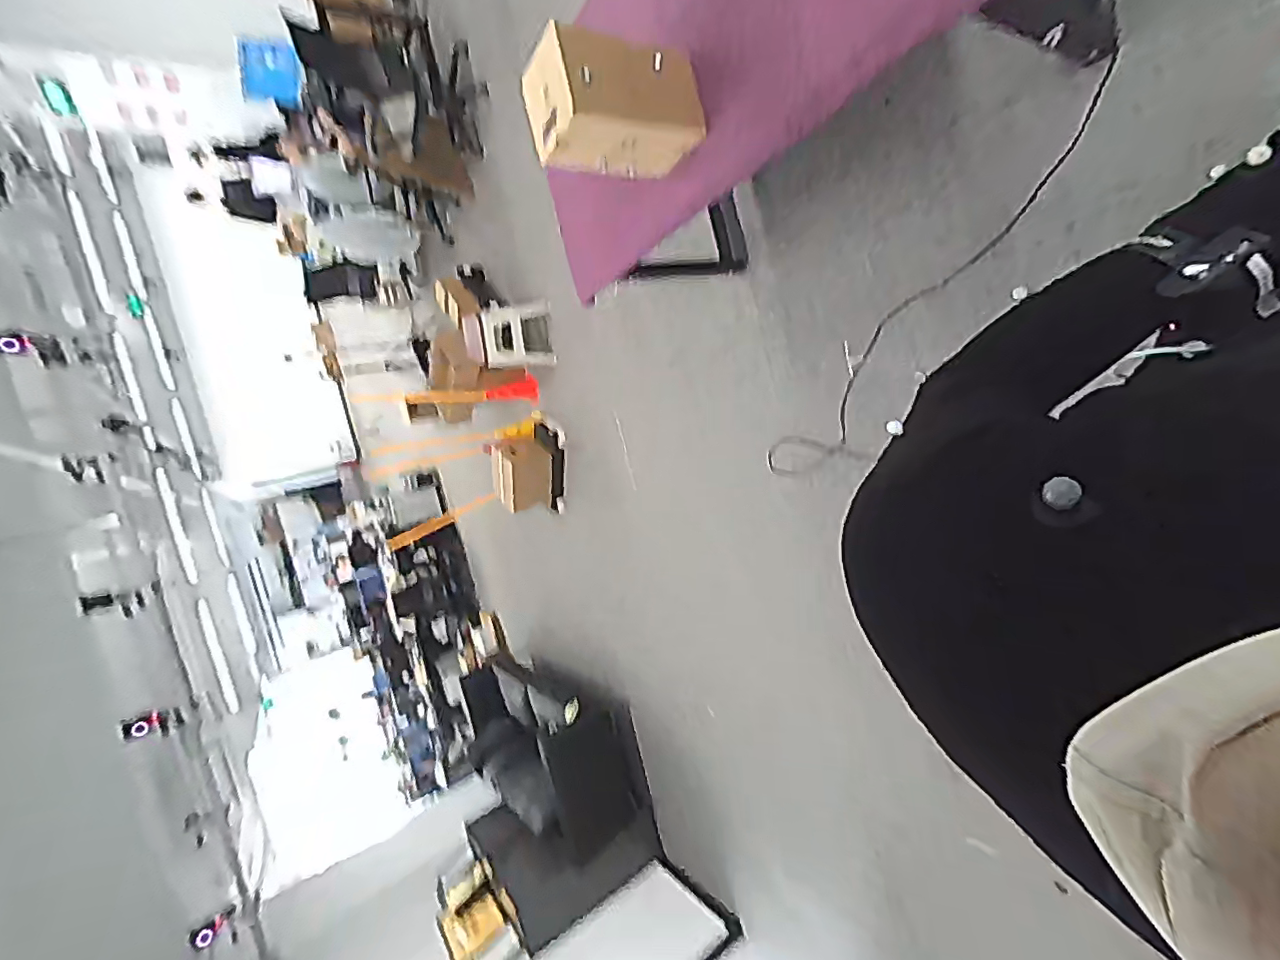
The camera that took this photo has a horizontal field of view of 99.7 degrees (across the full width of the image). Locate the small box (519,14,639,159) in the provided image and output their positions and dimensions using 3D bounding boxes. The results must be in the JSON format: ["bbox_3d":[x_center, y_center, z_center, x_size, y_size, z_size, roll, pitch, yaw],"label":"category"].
[{"bbox_3d":[-0.122,-0.778,1.095,0.168,0.176,0.179,-8,96,57],"label":"small box"}]
